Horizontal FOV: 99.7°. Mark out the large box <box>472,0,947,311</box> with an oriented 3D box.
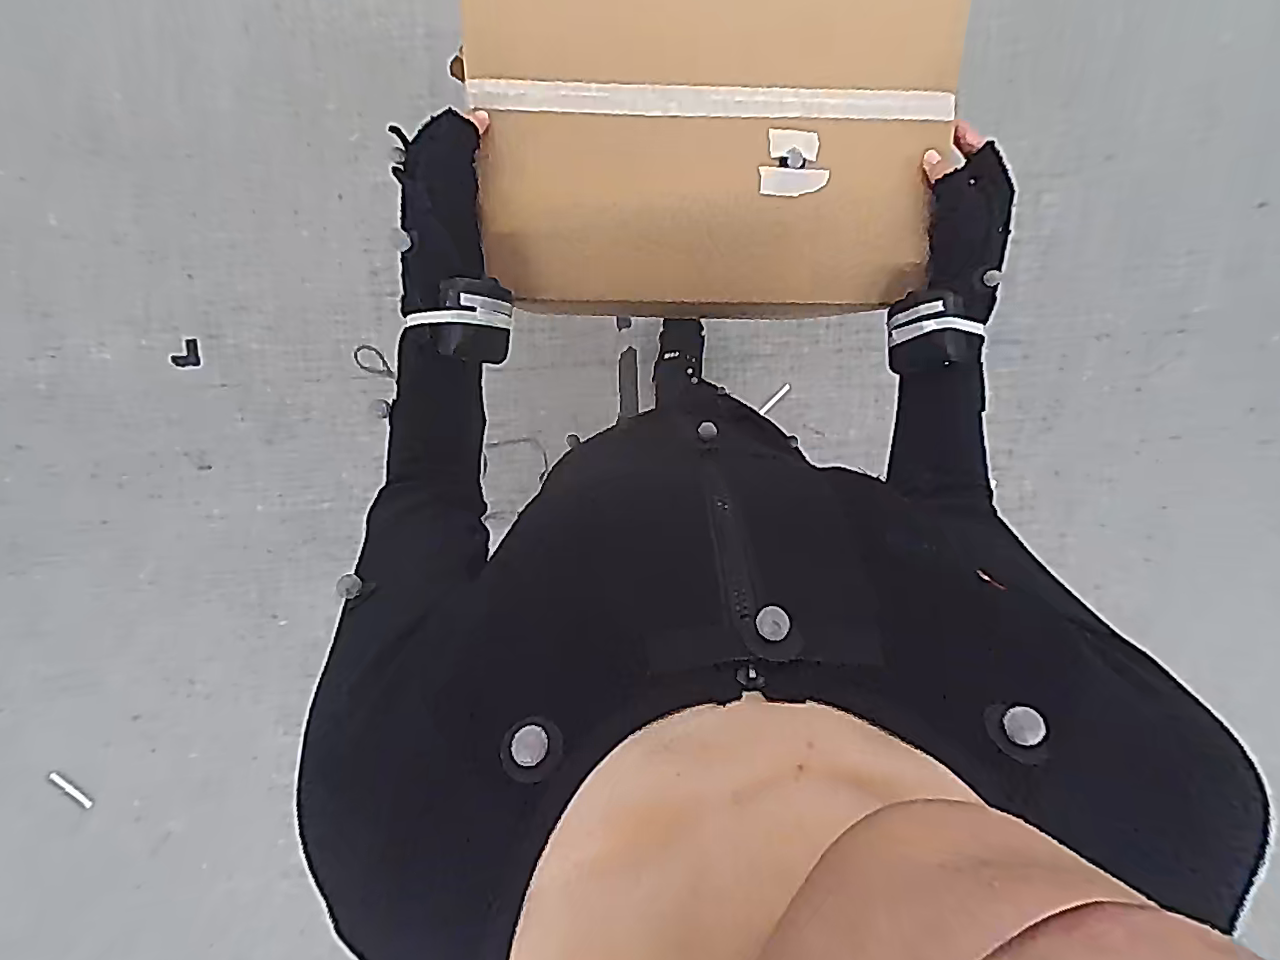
[{"bbox_3d":[0.052,-0.365,0.610,0.408,0.320,0.320,-1,105,-4],"label":"large box"}]
